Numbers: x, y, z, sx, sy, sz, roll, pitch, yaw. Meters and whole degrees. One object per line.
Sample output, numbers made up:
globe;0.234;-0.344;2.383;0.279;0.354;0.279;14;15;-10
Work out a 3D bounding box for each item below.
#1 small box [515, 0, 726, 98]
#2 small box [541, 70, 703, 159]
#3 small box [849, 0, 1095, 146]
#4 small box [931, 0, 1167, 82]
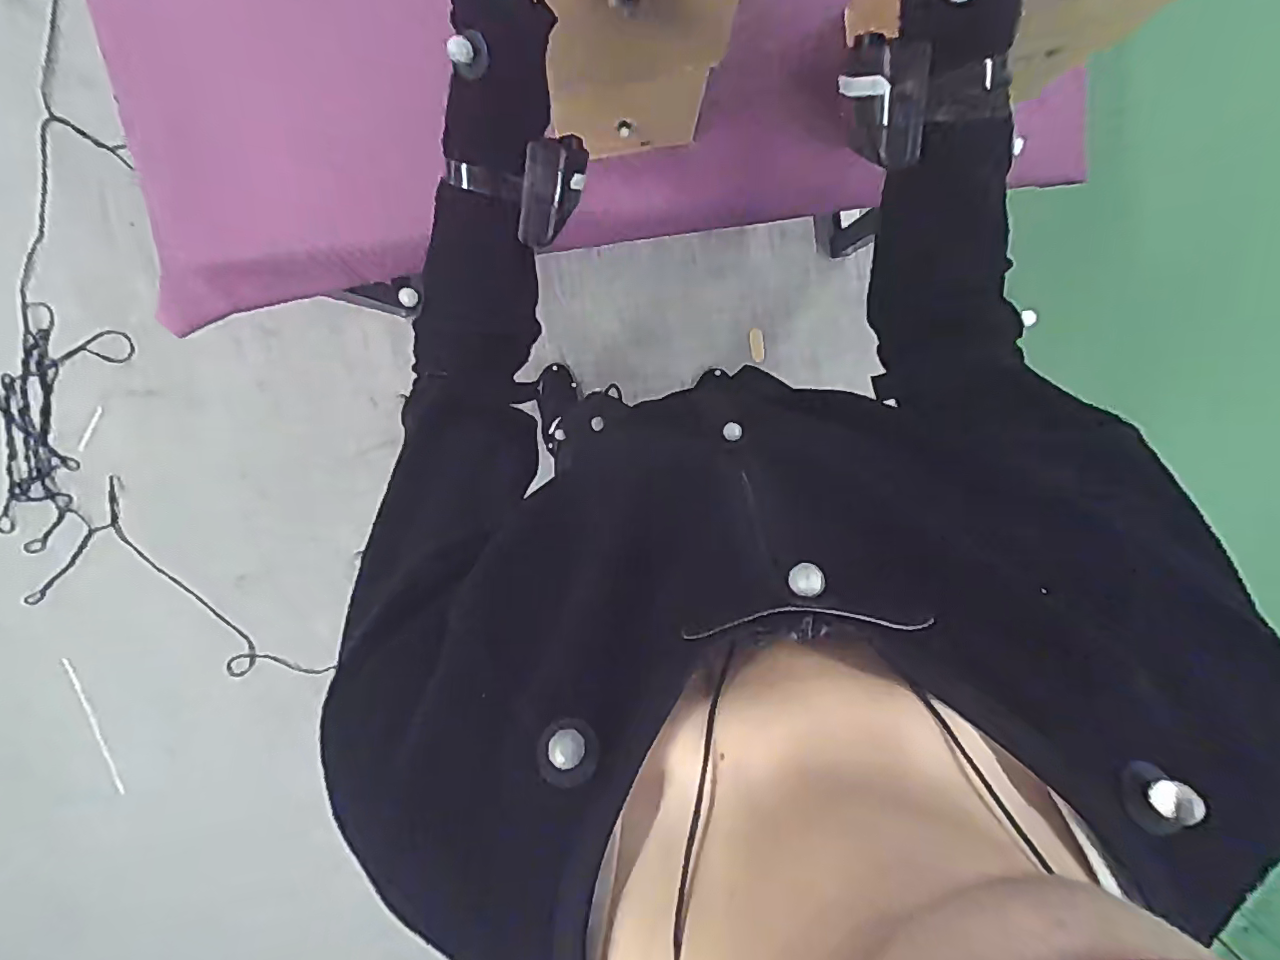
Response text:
small box;-0.022;-0.452;0.446;0.179;0.176;0.168;-9;101;2
small box;-0.026;-0.486;0.605;0.168;0.176;0.179;-9;99;2
small box;0.354;-0.503;0.600;0.179;0.176;0.168;-10;101;4
small box;0.355;-0.475;0.438;0.168;0.176;0.179;-10;100;4
